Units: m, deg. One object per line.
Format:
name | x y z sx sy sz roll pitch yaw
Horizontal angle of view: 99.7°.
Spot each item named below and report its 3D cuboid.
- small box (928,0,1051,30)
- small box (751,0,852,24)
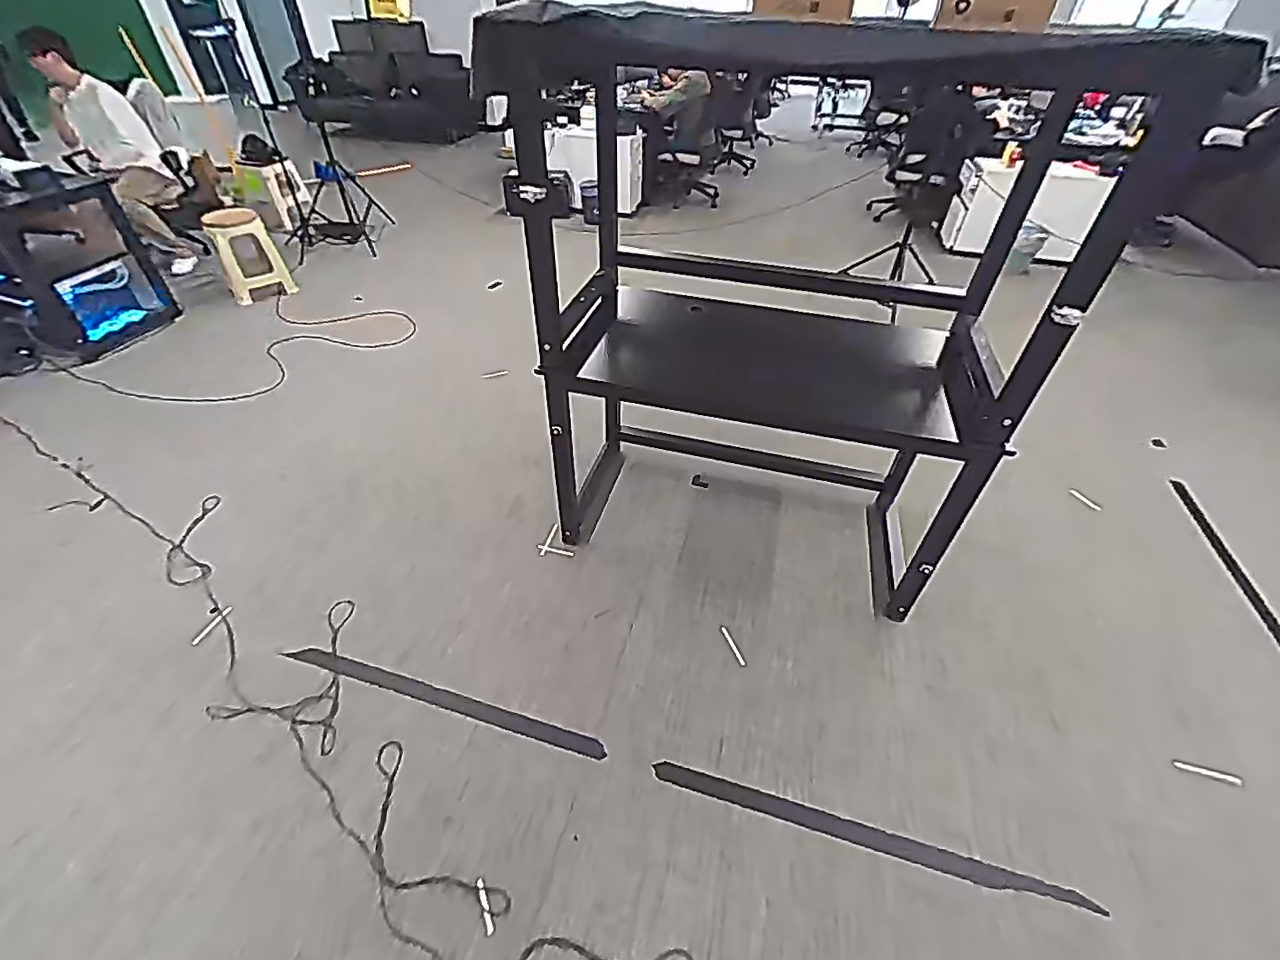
small box | 0.580 -0.835 0.868 0.168 0.176 0.179 14 42 14
small box | 0.290 -0.891 0.919 0.168 0.176 0.179 12 41 12
